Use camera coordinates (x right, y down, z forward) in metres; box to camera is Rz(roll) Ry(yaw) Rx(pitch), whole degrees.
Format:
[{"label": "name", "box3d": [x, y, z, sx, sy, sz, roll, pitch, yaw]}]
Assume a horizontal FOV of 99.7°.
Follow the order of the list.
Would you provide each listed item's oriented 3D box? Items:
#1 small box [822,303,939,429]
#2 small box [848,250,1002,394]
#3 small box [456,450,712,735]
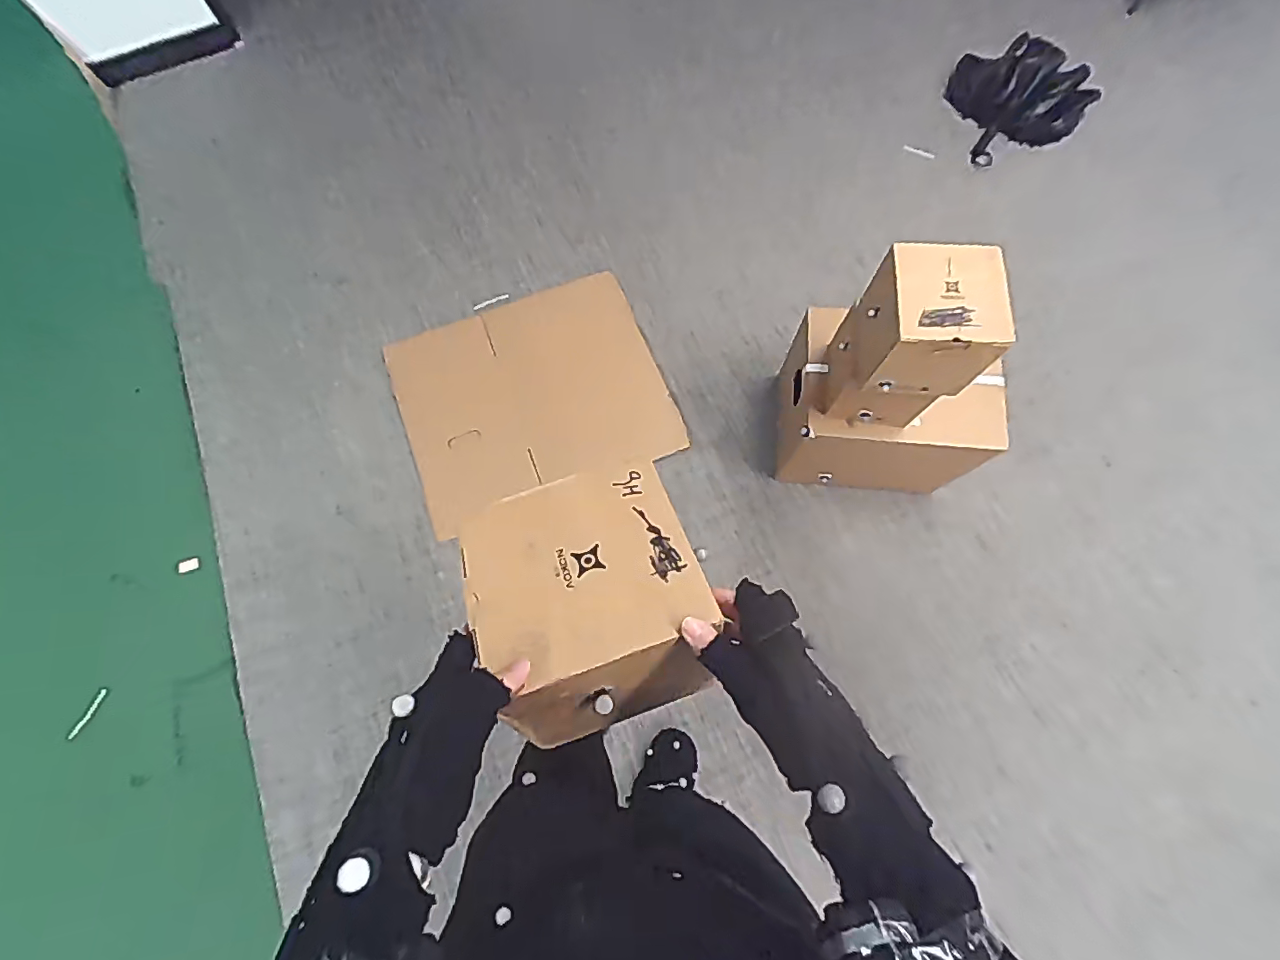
[{"label": "small box", "box3d": [0.463, -0.218, 1.060, 0.168, 0.176, 0.179, 7, 75, 5]}, {"label": "small box", "box3d": [0.459, -0.252, 0.899, 0.168, 0.176, 0.179, 0, 74, 3]}, {"label": "small box", "box3d": [-0.043, 0.108, 0.497, 0.179, 0.176, 0.168, -21, 53, -8]}]
